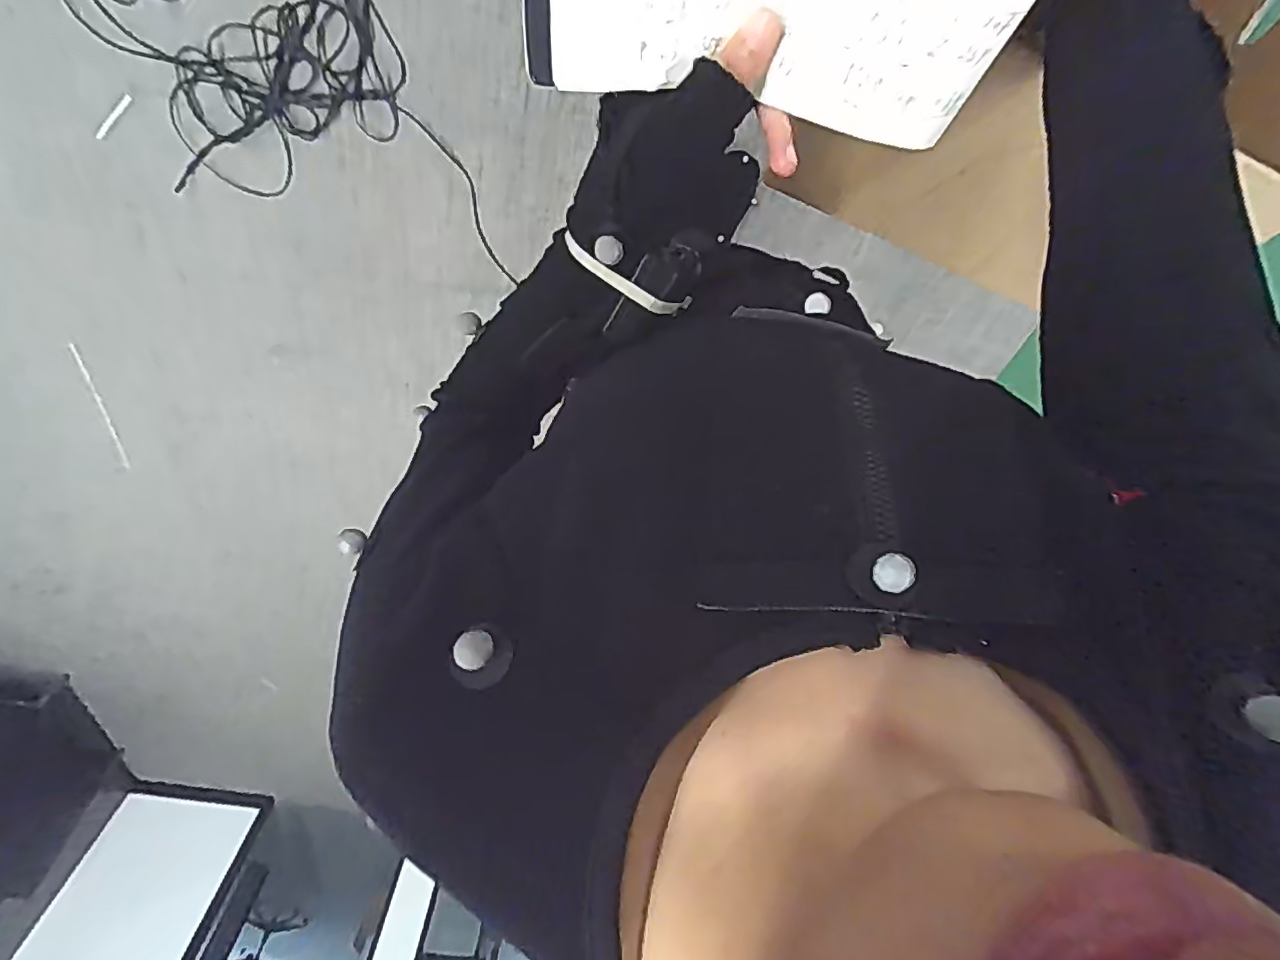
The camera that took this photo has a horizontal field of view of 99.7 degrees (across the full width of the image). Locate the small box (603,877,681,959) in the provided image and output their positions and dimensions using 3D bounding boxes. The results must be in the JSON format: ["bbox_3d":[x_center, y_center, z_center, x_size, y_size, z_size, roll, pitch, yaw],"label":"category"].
[{"bbox_3d":[0.003,1.182,1.434,0.168,0.176,0.179,14,128,-8],"label":"small box"}]
